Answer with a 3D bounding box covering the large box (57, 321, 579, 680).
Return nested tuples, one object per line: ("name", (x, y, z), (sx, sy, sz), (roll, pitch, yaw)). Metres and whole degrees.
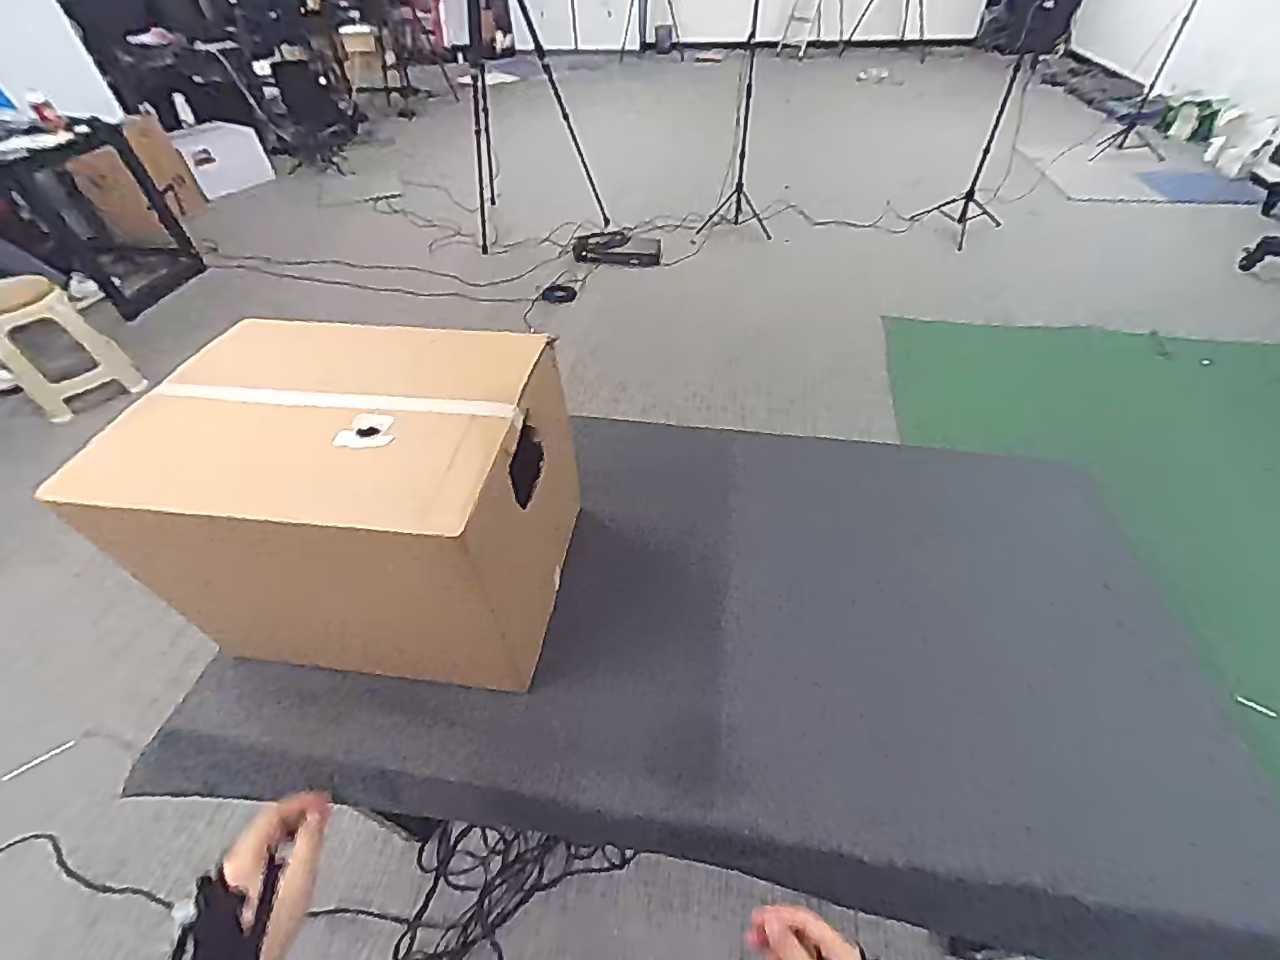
("large box", (-0.311, 0.024, 0.677), (0.408, 0.320, 0.320), (5, 47, 5))
